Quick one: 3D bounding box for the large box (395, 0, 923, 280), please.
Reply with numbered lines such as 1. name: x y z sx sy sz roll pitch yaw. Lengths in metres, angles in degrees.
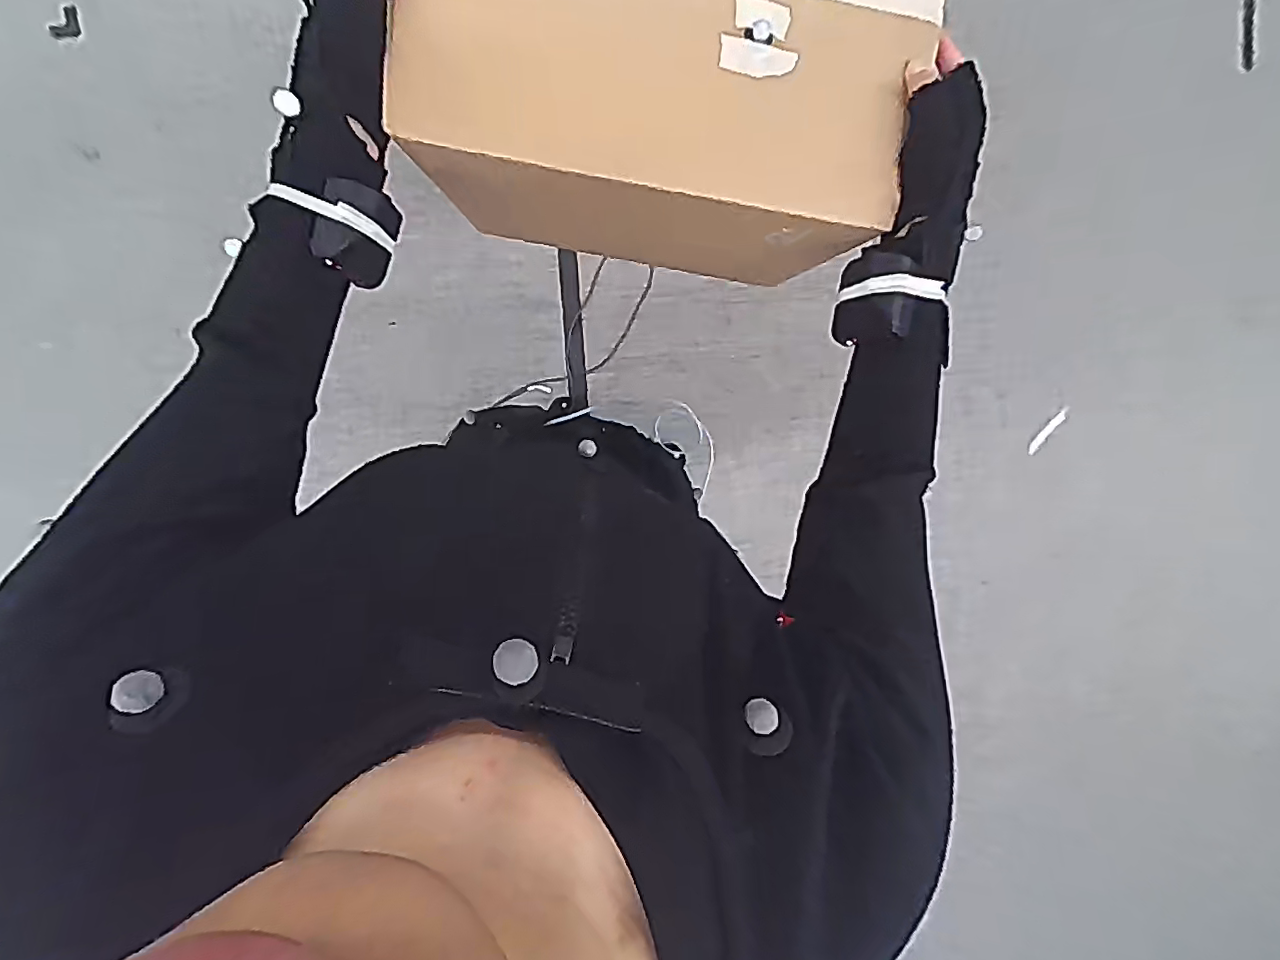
1. large box: 0.012 -0.415 0.554 0.408 0.320 0.320 8 102 -6
